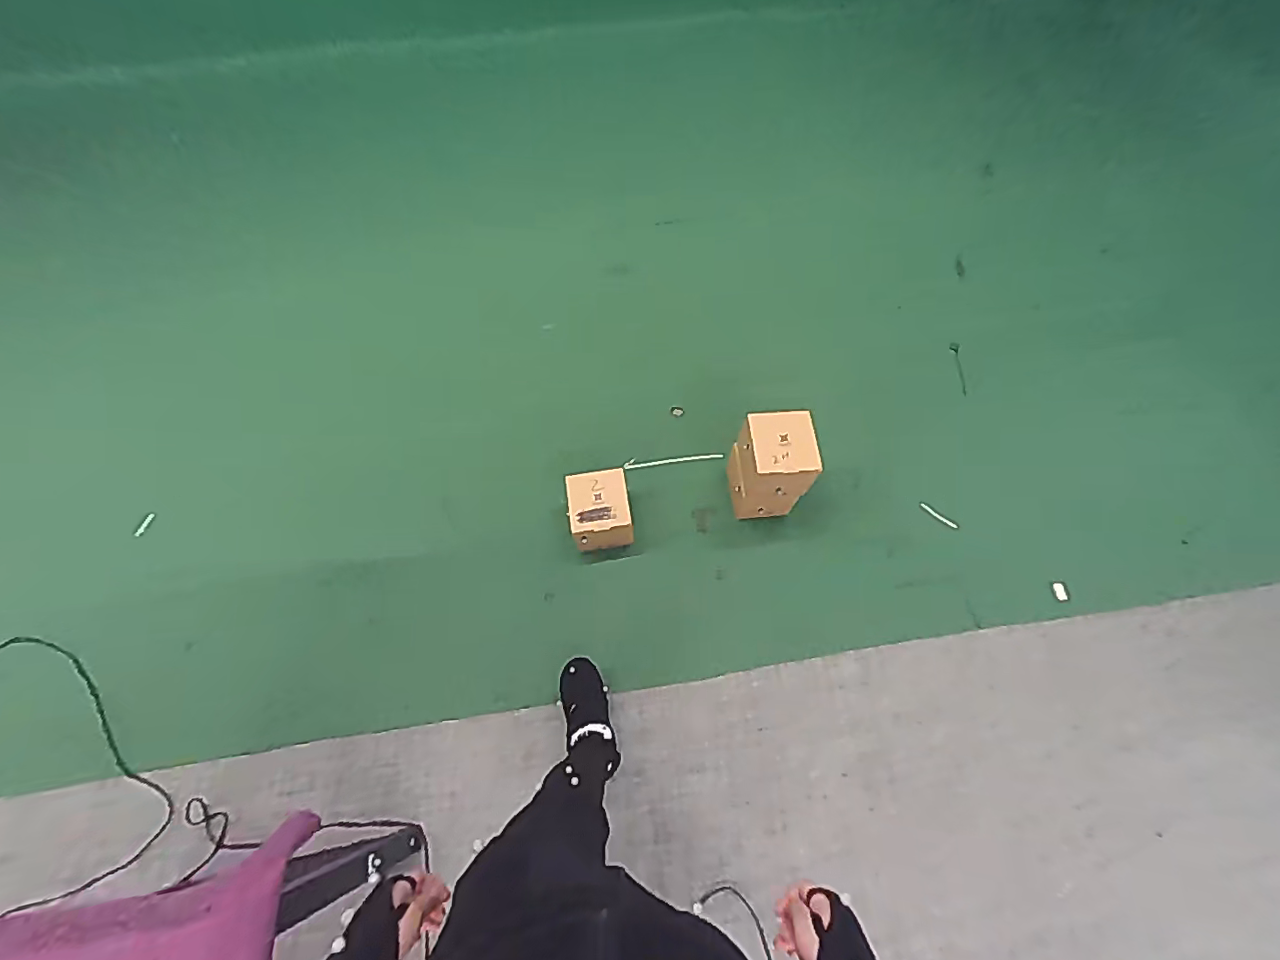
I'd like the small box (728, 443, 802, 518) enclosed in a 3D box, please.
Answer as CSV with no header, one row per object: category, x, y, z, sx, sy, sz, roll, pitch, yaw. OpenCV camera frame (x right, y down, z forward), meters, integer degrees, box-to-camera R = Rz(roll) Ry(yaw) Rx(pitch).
small box,0.362,-0.001,1.595,0.168,0.176,0.179,-5,66,-3

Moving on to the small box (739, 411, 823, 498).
small box,0.368,-0.065,1.443,0.168,0.176,0.179,-3,66,-2
